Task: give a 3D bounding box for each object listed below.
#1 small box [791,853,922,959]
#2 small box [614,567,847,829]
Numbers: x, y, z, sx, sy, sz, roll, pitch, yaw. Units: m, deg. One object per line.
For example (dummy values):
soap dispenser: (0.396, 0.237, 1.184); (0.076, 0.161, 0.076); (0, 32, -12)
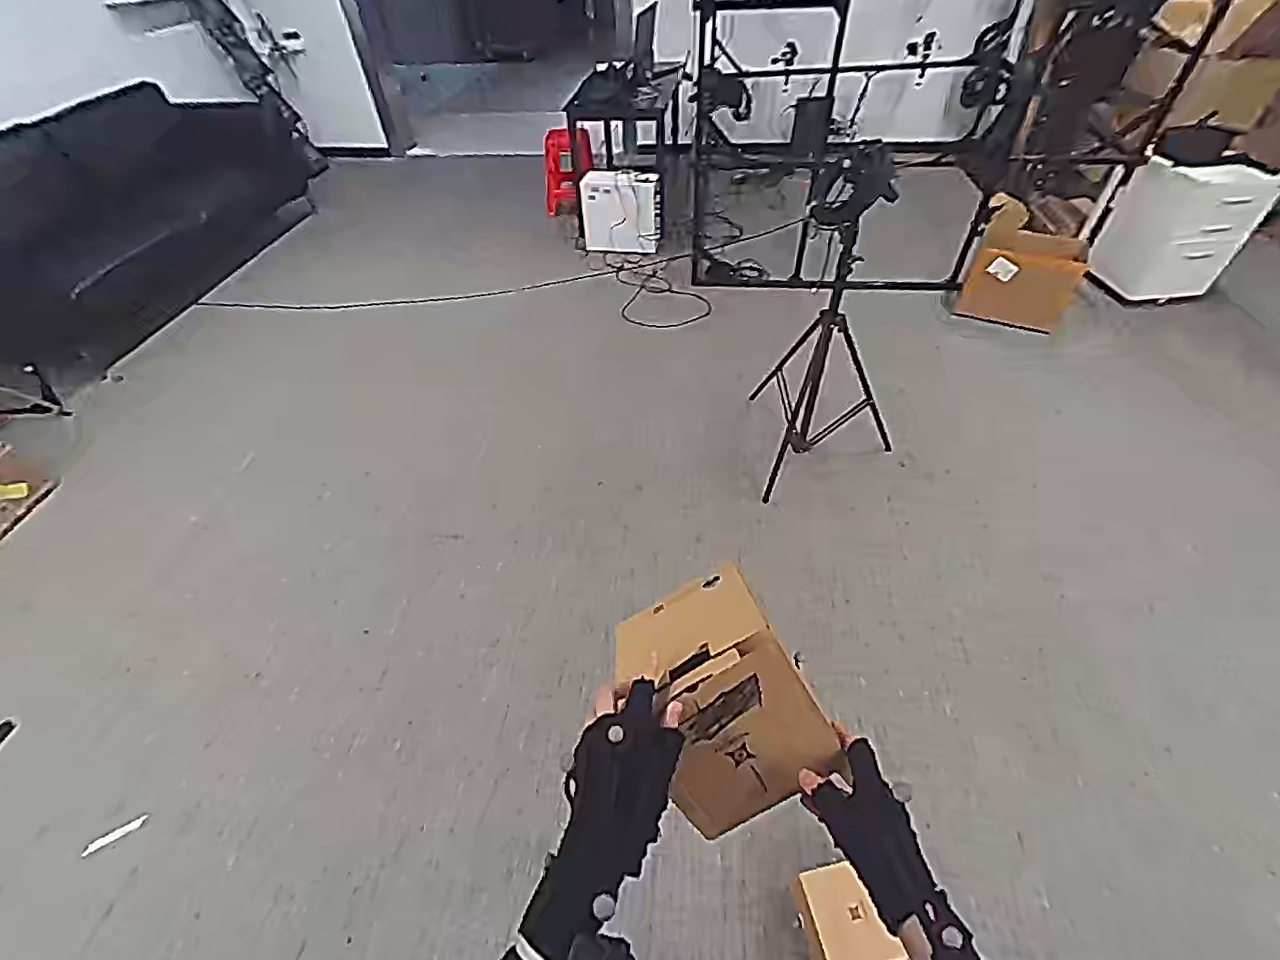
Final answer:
small box: (0.426, 0.888, 1.099); (0.179, 0.176, 0.168); (-11, 46, -6)
small box: (0.083, 0.215, 0.587); (0.168, 0.179, 0.176); (-32, 12, 5)
